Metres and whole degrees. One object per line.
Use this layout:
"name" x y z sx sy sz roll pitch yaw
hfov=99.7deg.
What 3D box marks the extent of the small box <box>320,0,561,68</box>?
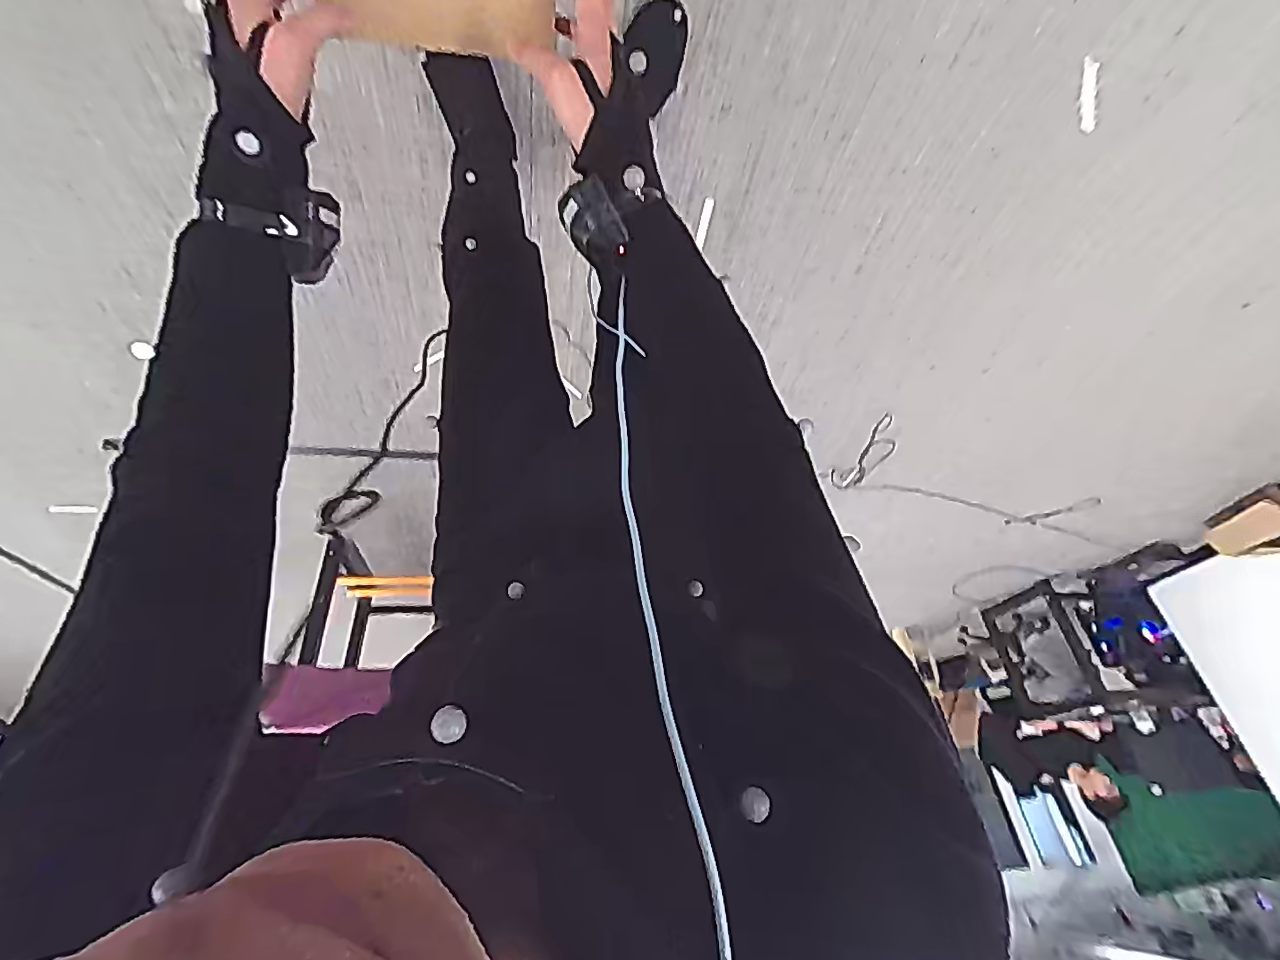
"small box" -0.151 -0.452 0.410 0.179 0.176 0.168 -3 145 -13
